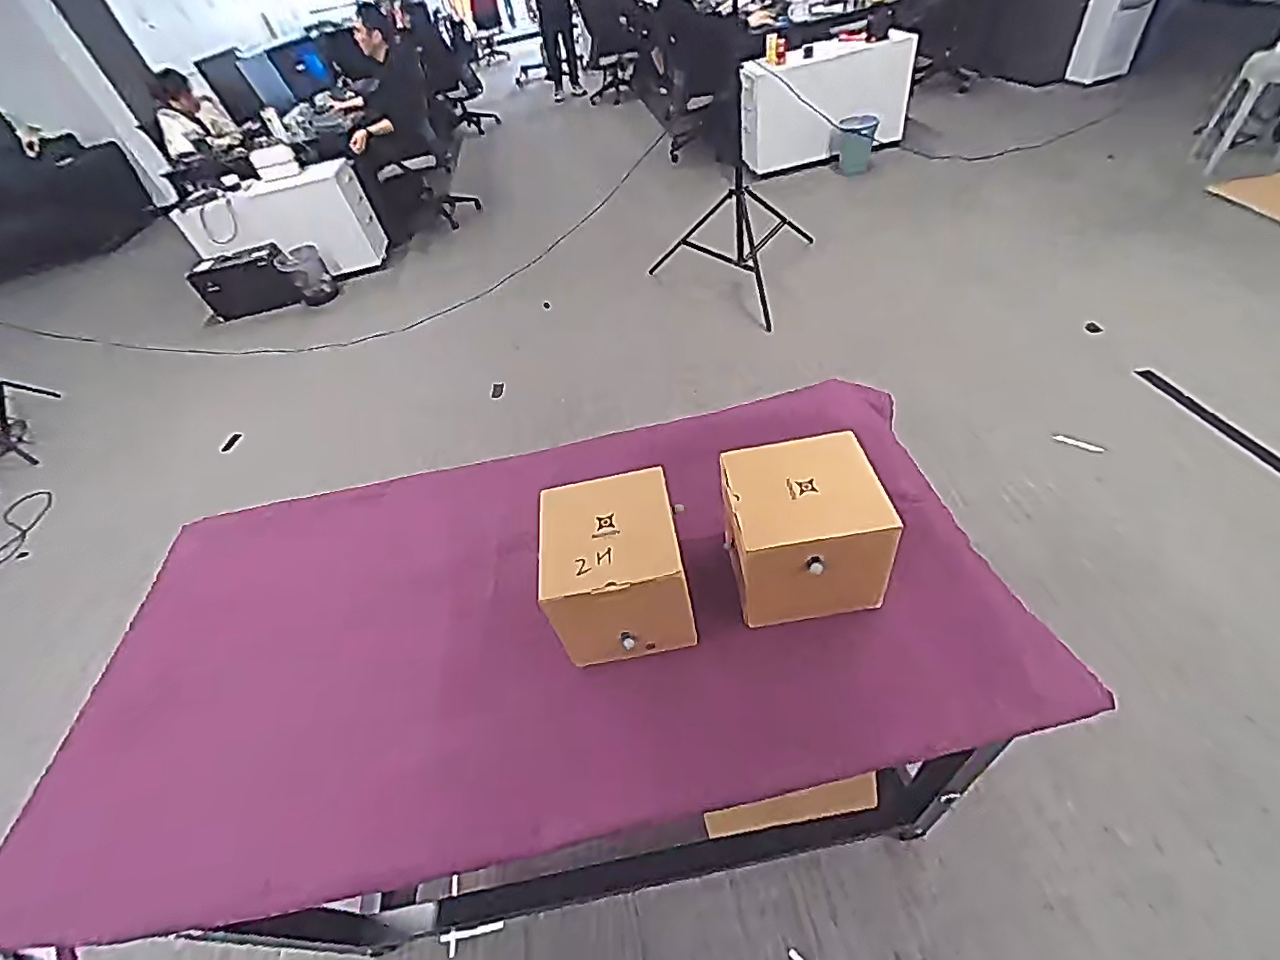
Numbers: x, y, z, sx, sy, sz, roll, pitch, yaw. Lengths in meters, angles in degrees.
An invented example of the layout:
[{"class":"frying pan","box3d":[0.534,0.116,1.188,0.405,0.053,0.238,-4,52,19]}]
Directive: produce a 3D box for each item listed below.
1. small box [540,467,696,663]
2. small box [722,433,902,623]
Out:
[{"class":"small box","box3d":[-0.026,0.112,0.713,0.168,0.176,0.179,-12,45,3]},{"class":"small box","box3d":[0.210,0.066,0.706,0.179,0.176,0.168,-10,44,4]}]
